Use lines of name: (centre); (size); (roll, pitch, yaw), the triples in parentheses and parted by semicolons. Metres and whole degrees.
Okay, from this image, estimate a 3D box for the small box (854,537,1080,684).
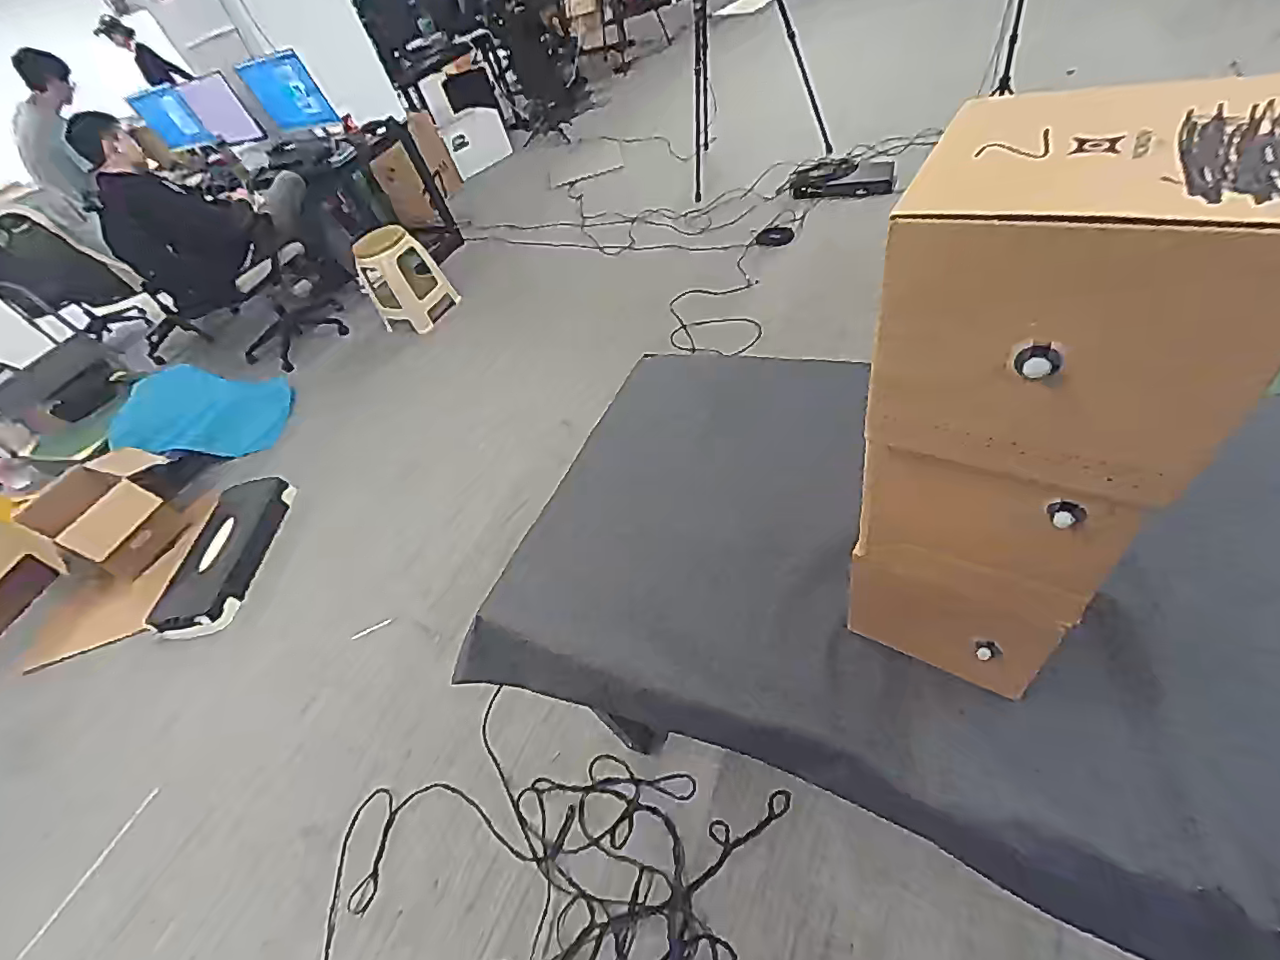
small box: (0.343, 0.090, 0.573); (0.179, 0.176, 0.168); (19, 57, 32)
